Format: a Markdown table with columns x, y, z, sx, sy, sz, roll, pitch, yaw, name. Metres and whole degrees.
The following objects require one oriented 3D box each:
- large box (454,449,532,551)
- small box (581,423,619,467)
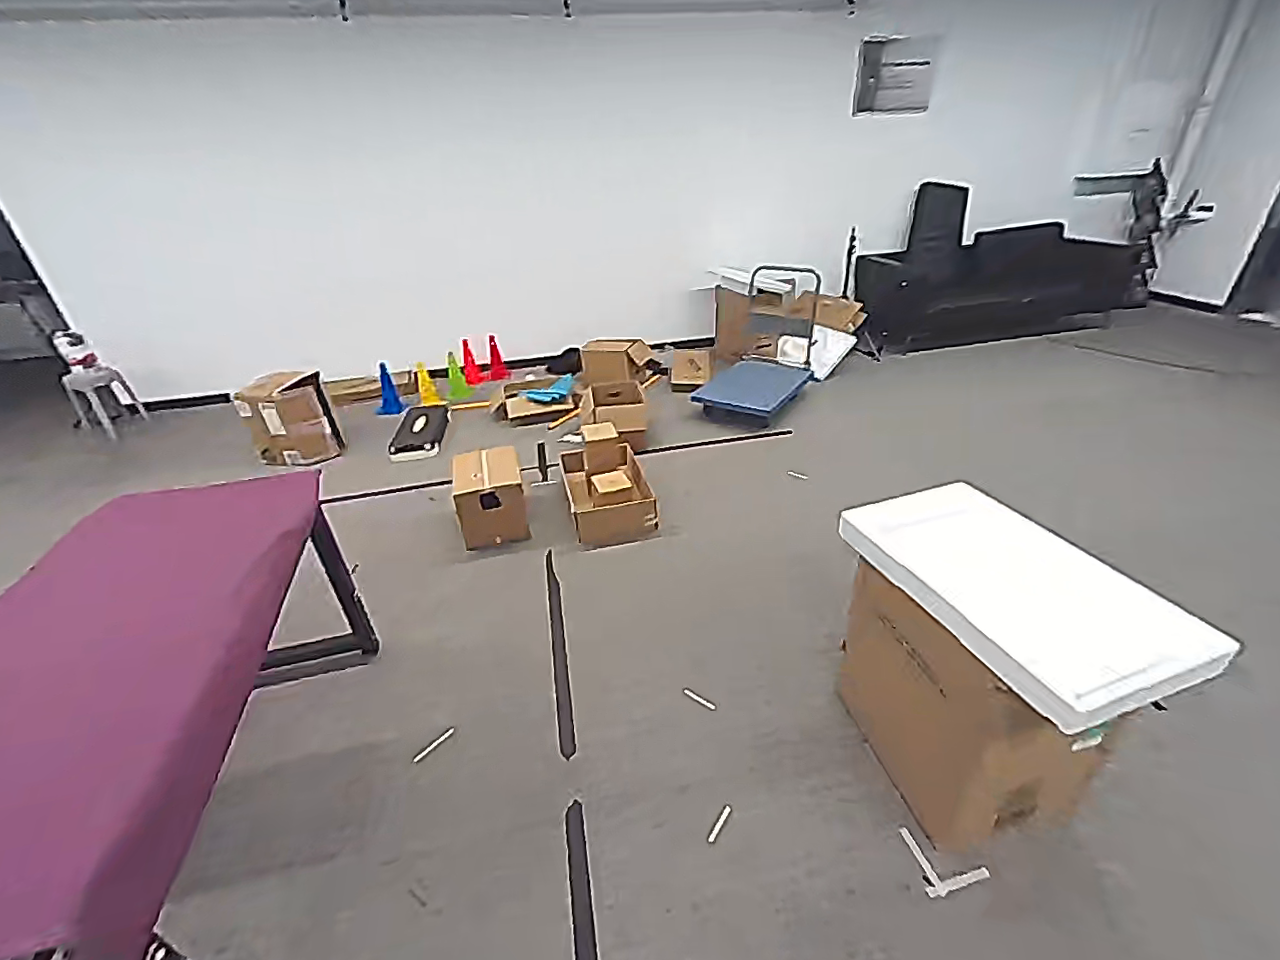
| x | y | z | sx | sy | sz | roll | pitch | yaw | name |
| --- | --- | --- | --- | --- | --- | --- | --- | --- | --- |
| -0.730 | 0.089 | 2.684 | 0.320 | 0.320 | 0.408 | -12 | 32 | -13 | large box |
| -0.207 | -0.175 | 2.794 | 0.168 | 0.176 | 0.179 | -9 | 33 | -12 | small box |
